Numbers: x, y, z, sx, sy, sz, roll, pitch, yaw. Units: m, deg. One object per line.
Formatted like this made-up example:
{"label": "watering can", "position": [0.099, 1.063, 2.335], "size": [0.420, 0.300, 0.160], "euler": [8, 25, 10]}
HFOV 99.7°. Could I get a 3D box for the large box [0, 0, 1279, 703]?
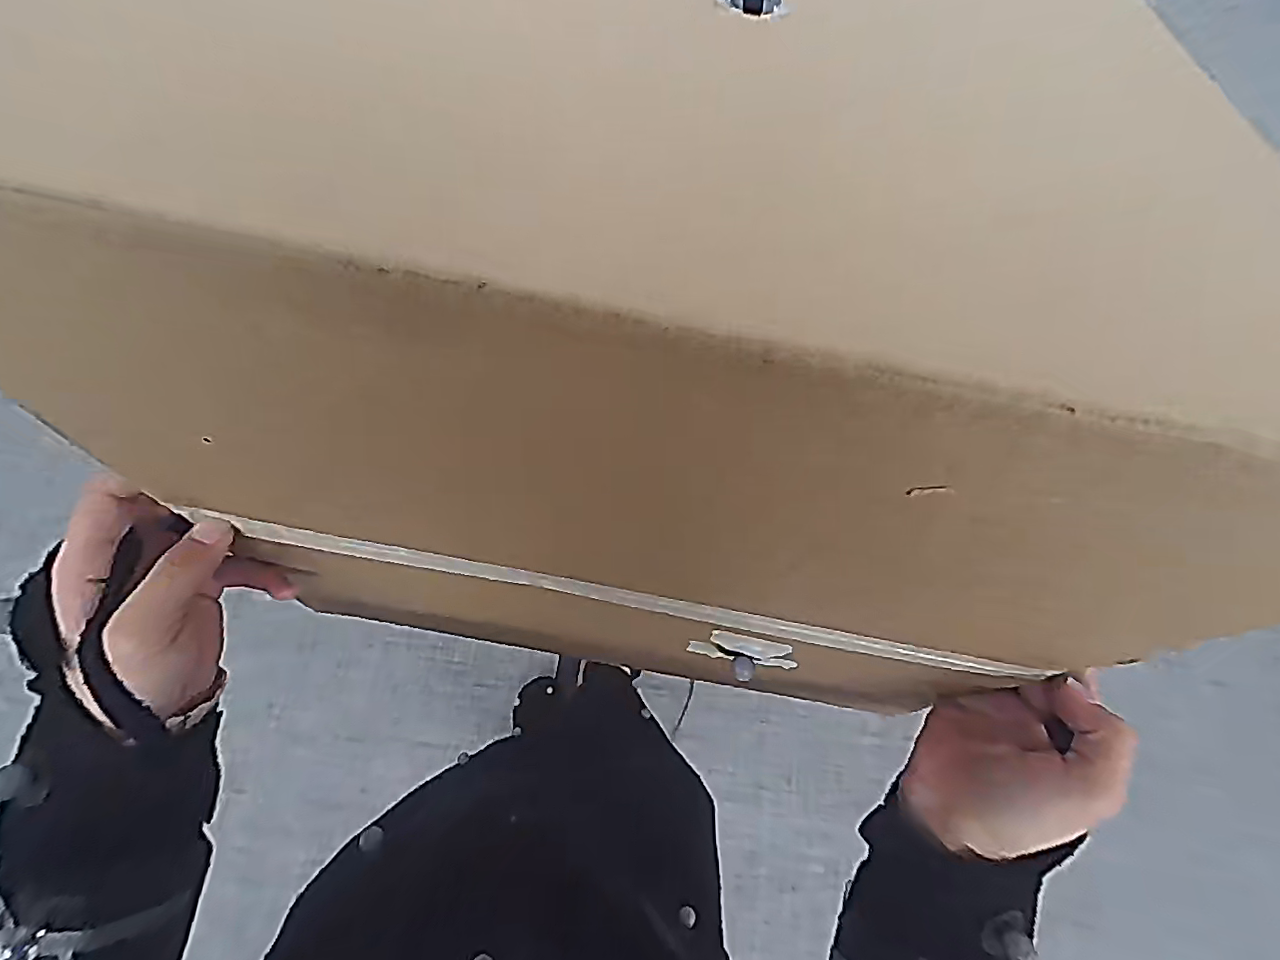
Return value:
{"label": "large box", "position": [0.015, -0.079, 0.330], "size": [0.408, 0.320, 0.320], "euler": [10, 60, -2]}
